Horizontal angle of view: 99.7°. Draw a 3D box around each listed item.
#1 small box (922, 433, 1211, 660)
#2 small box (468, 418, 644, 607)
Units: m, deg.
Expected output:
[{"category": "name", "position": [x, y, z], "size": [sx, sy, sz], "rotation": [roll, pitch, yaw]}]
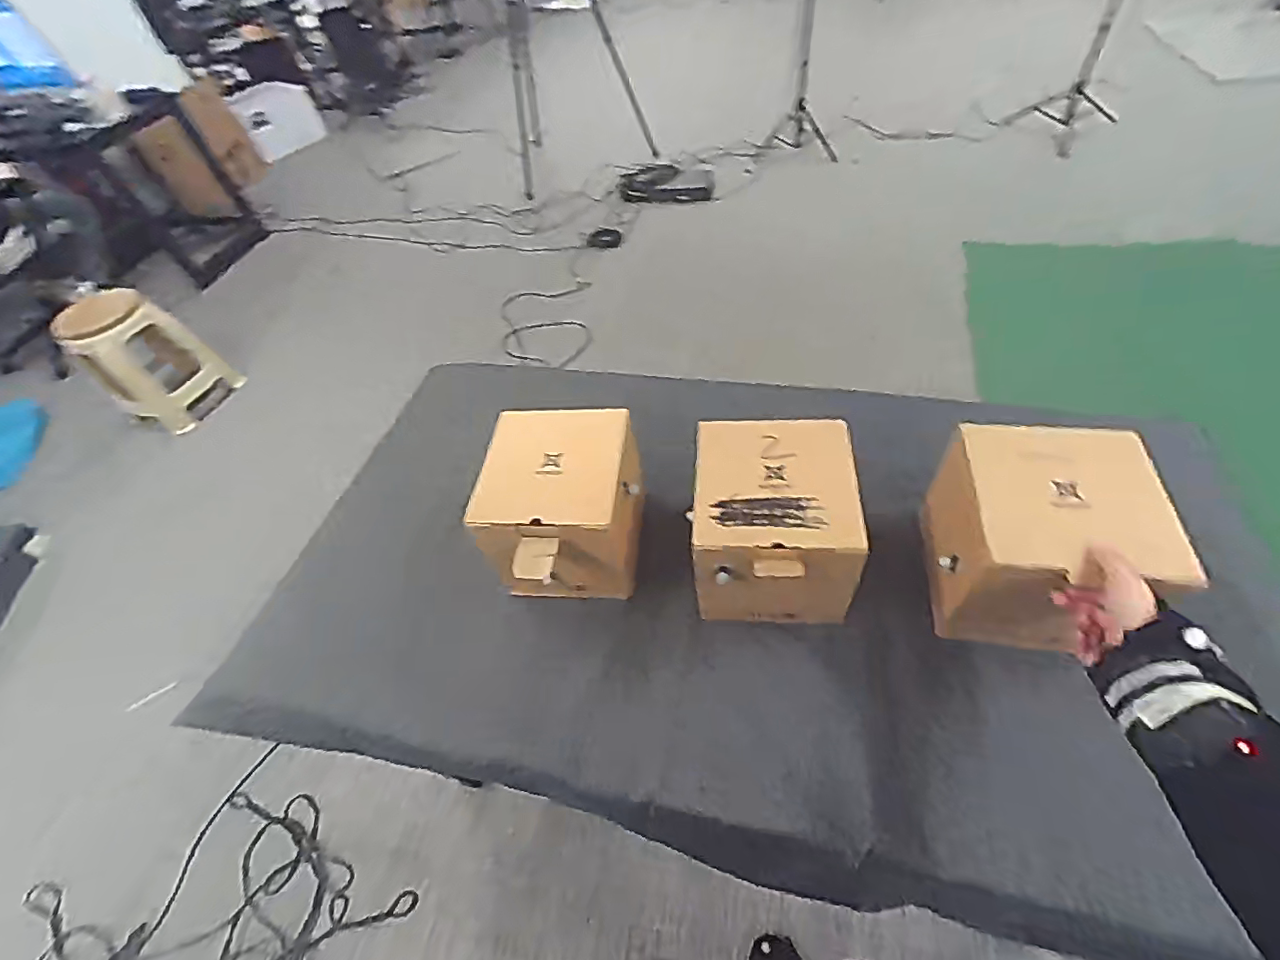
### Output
[{"category": "small box", "position": [0.419, 0.073, 0.574], "size": [0.168, 0.176, 0.179], "rotation": [4, 51, 11]}, {"category": "small box", "position": [-0.089, 0.041, 0.684], "size": [0.168, 0.176, 0.179], "rotation": [0, 52, 9]}]
